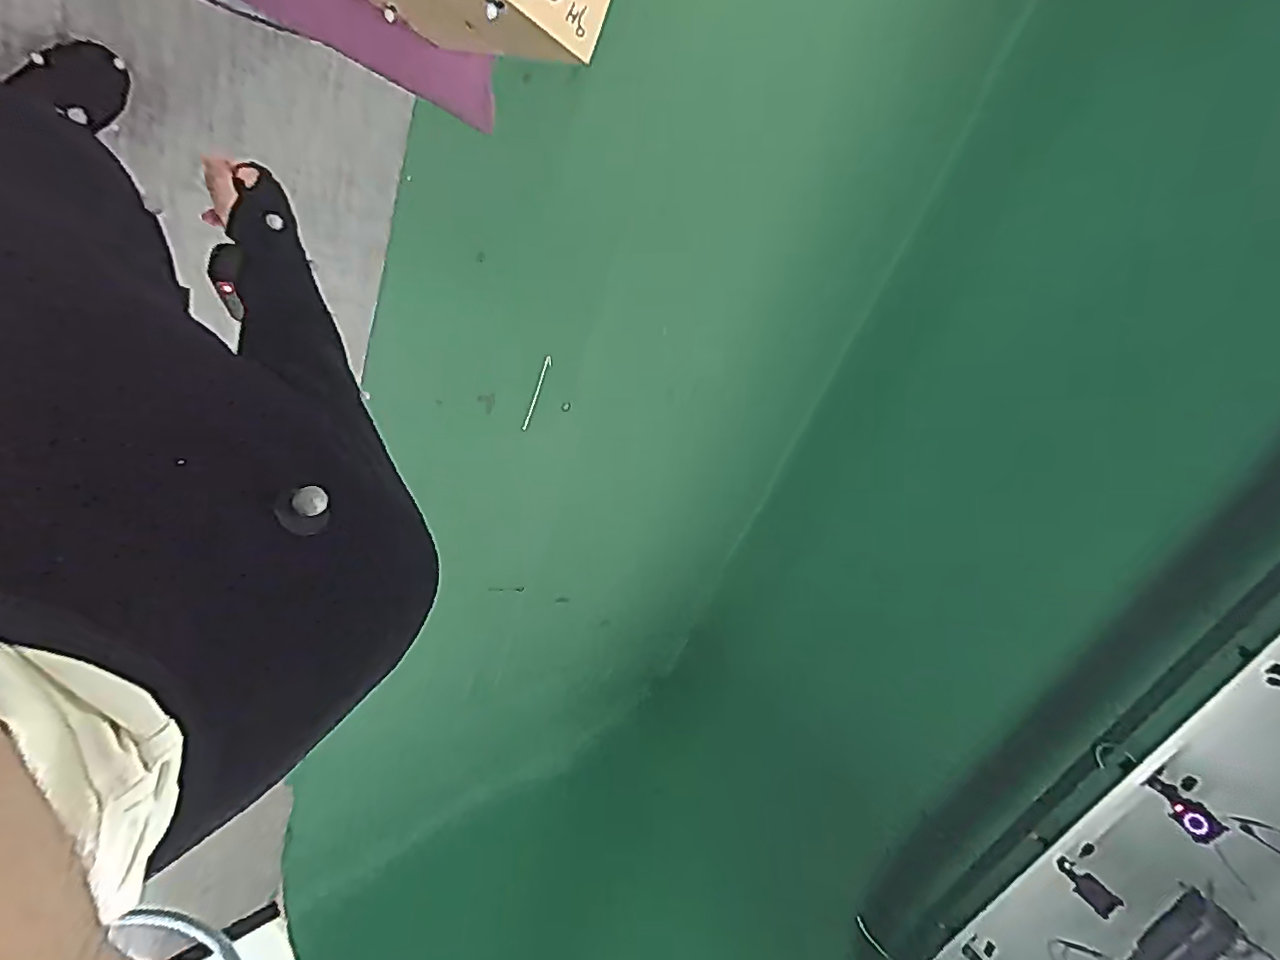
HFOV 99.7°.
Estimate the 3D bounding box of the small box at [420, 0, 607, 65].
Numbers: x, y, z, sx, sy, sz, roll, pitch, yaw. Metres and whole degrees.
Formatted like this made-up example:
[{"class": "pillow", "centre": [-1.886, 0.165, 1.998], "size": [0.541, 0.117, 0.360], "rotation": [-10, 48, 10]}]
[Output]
[{"class": "small box", "centre": [-0.129, -0.534, 0.505], "size": [0.168, 0.176, 0.179], "rotation": [1, 119, -49]}]
